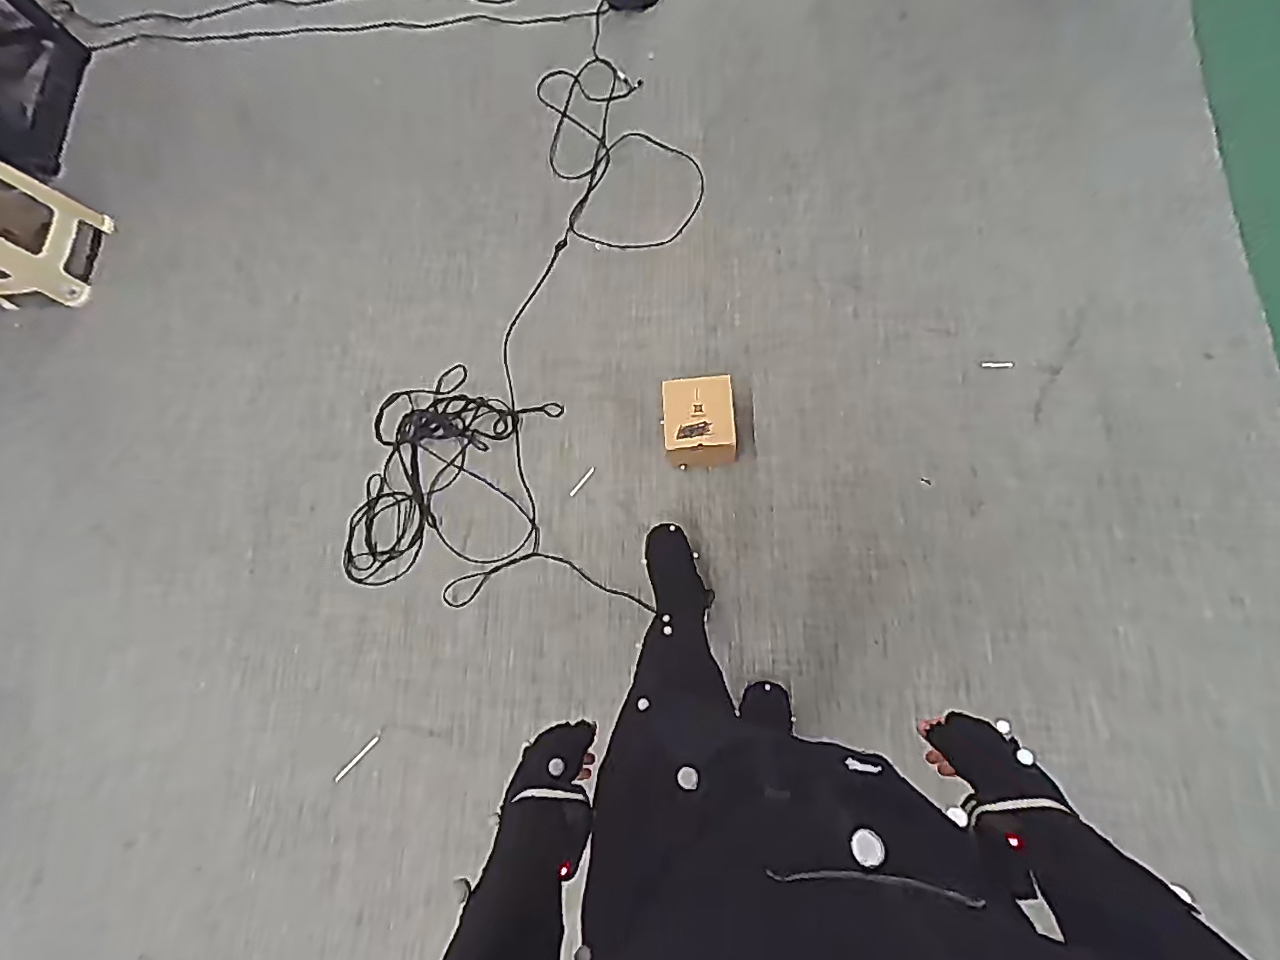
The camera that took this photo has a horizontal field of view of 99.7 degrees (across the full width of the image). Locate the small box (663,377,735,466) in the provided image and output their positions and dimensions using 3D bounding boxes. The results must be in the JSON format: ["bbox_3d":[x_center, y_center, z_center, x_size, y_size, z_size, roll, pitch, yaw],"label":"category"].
[{"bbox_3d":[0.149,-0.135,1.340,0.168,0.176,0.179,-3,75,7],"label":"small box"}]
